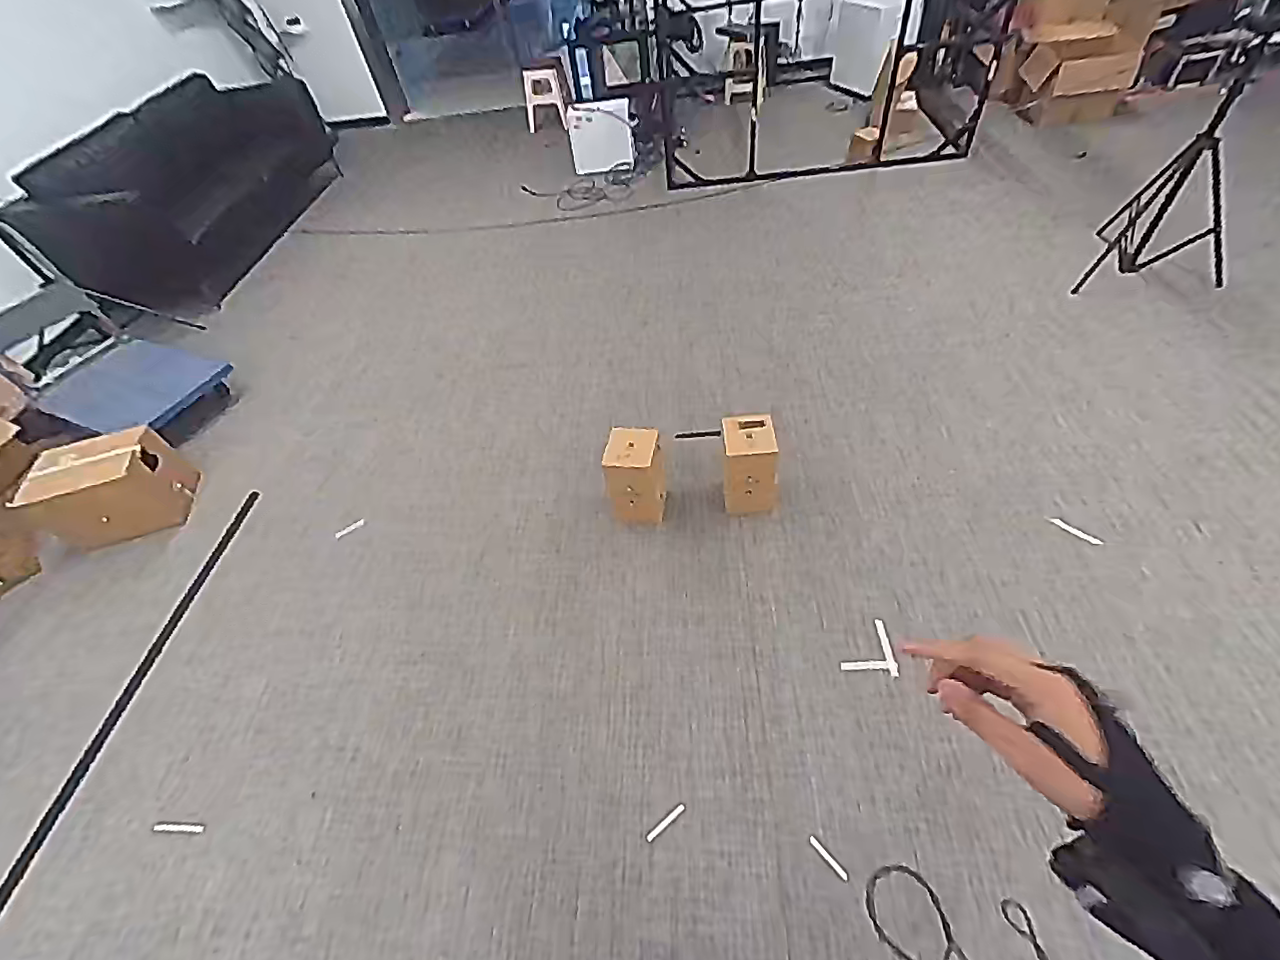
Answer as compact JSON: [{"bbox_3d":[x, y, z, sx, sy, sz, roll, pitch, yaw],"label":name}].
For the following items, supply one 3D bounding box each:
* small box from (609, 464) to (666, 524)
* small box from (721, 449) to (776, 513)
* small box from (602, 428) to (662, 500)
[{"bbox_3d":[-0.002,0.048,1.995,0.179,0.176,0.168,2,51,12],"label":"small box"},{"bbox_3d":[0.391,0.009,1.965,0.179,0.176,0.168,-3,50,5],"label":"small box"},{"bbox_3d":[-0.021,-0.056,1.868,0.168,0.176,0.179,4,51,13],"label":"small box"}]
